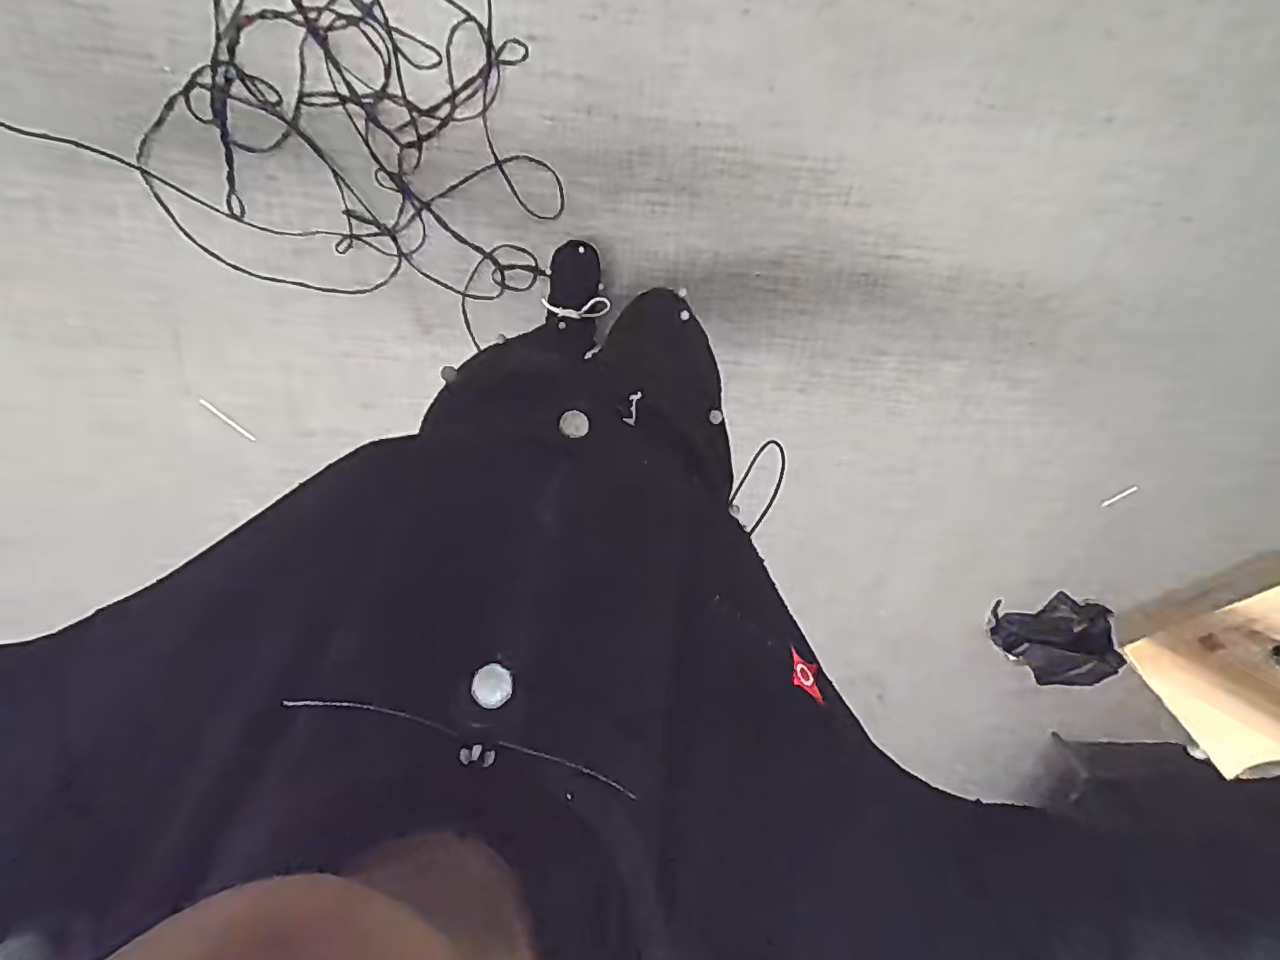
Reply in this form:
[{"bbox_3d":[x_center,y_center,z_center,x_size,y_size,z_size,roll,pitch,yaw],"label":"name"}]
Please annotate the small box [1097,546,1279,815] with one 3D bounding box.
[{"bbox_3d":[0.591,0.176,0.523,0.168,0.179,0.176,-42,68,30],"label":"small box"}]
